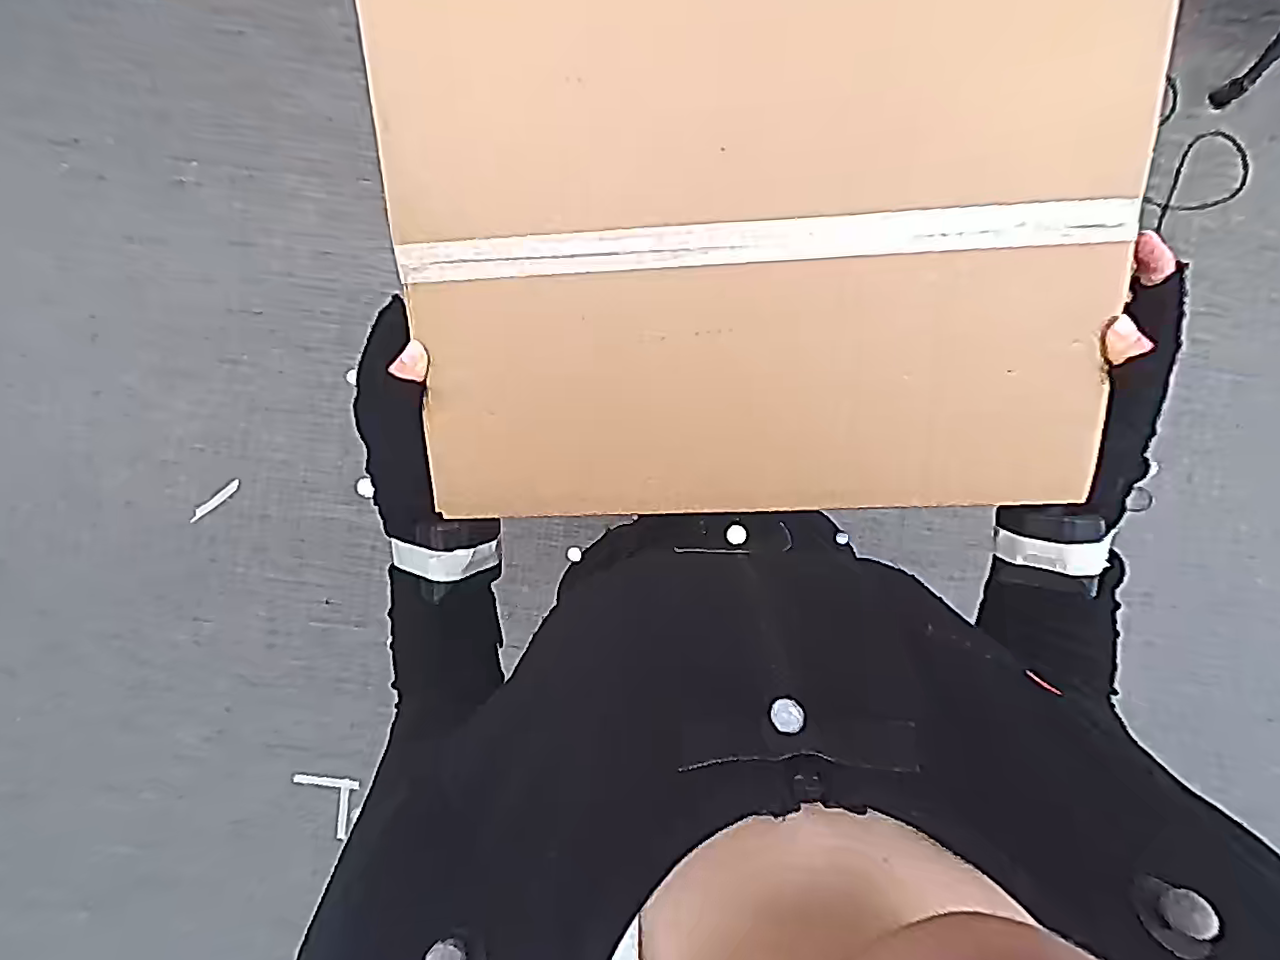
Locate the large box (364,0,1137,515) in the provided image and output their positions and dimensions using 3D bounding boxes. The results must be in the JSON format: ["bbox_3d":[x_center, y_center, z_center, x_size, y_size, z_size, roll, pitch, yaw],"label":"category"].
[{"bbox_3d":[0.064,-0.173,0.455,0.408,0.320,0.320,-2,106,3],"label":"large box"}]
